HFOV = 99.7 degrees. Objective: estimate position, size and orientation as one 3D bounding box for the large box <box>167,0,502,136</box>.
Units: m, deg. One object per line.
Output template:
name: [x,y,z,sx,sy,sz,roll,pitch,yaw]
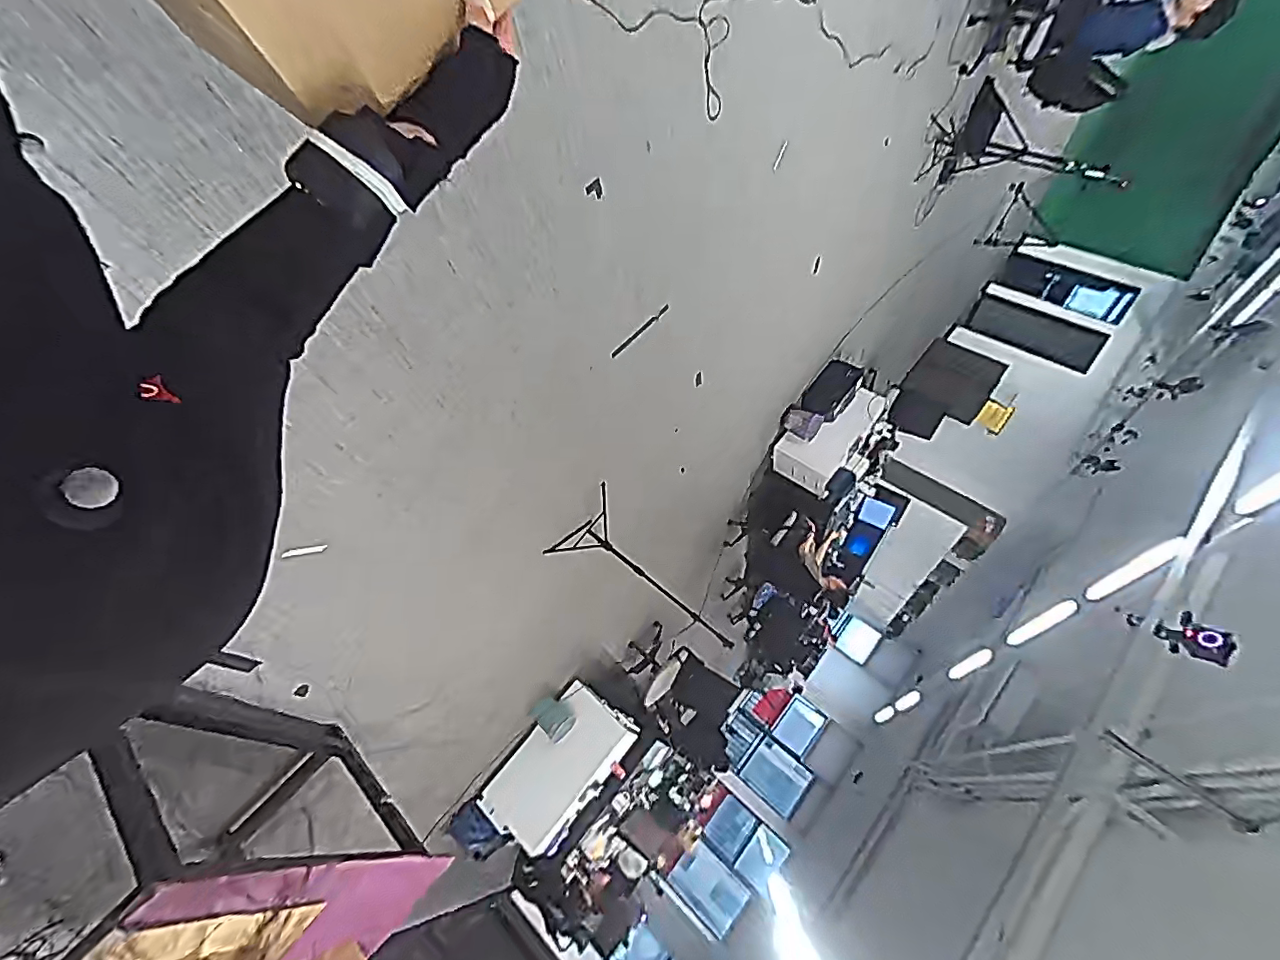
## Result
large box: [-0.284,-0.534,0.321,0.320,0.320,0.408,-46,157,-6]
